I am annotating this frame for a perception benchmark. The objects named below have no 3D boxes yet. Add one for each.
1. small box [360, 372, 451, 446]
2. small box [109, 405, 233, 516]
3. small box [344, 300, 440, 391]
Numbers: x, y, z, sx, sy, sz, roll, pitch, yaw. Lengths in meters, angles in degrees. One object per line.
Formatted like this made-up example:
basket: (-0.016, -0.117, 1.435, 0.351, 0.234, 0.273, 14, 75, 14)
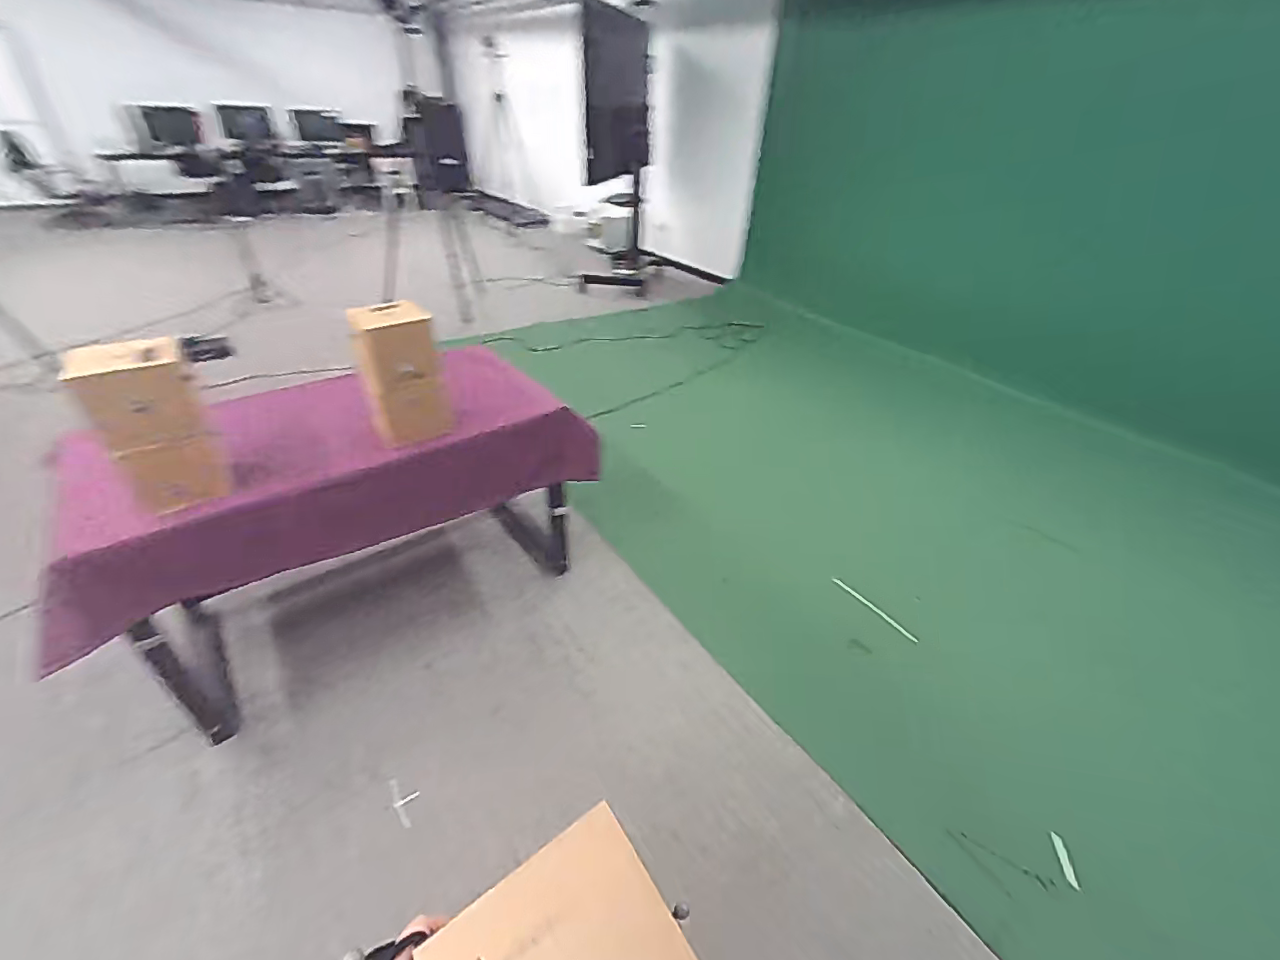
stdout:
small box: (-0.644, -0.213, 1.498, 0.179, 0.176, 0.168, -22, 43, -30)
small box: (-1.063, -0.047, 1.234, 0.168, 0.176, 0.179, -22, 43, -31)
small box: (-0.643, -0.351, 1.407, 0.168, 0.176, 0.179, -24, 44, -32)
